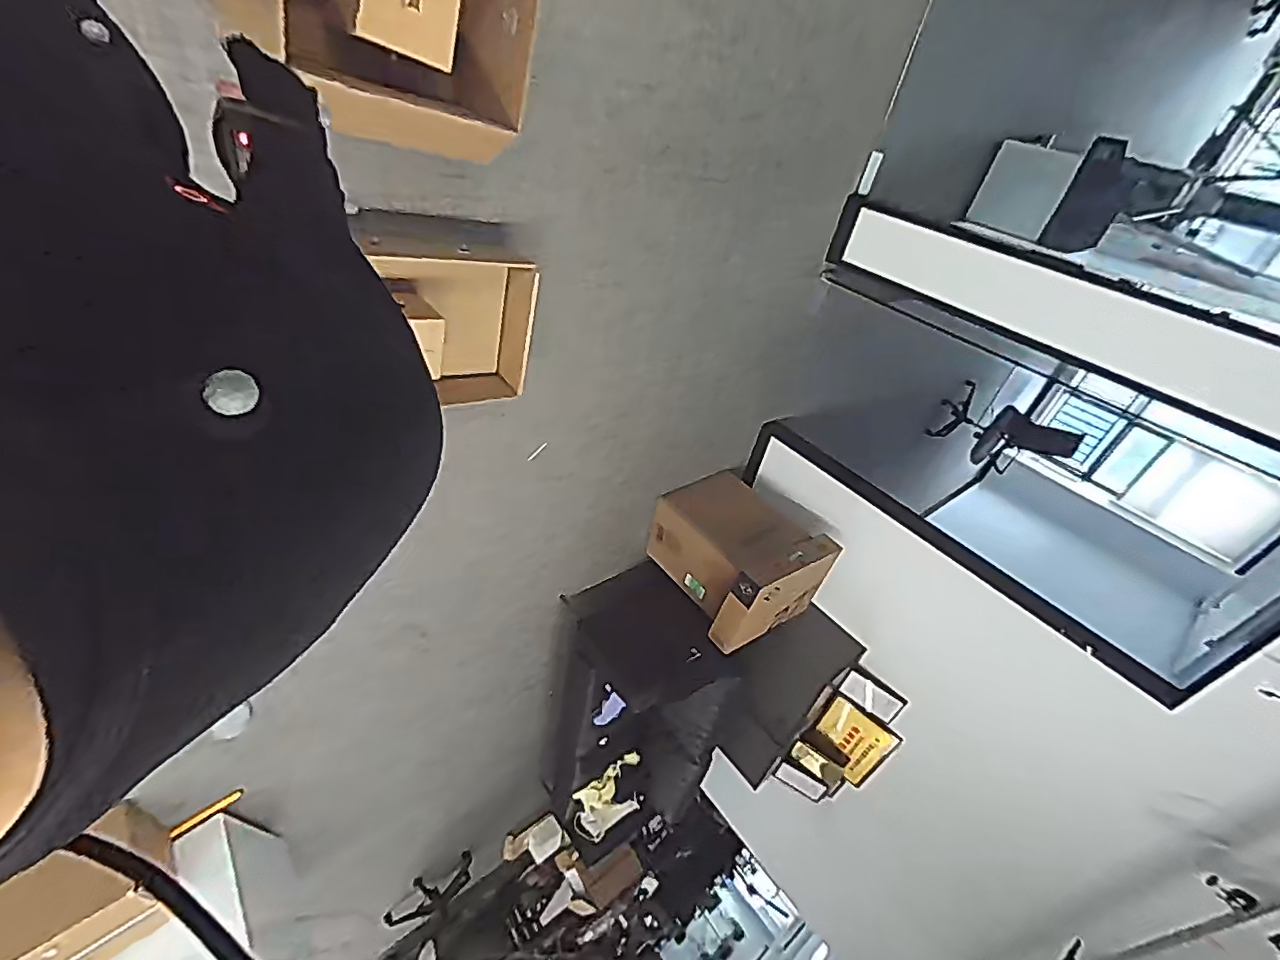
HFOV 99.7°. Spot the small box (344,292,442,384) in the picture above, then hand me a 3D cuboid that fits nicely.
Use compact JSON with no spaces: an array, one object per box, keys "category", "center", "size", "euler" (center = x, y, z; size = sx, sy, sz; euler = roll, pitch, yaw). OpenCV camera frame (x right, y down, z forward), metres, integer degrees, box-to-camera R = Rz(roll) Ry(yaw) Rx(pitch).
[{"category":"small box","center":[-0.615,-0.353,1.337],"size":[0.179,0.176,0.168],"euler":[-15,135,-42]}]
